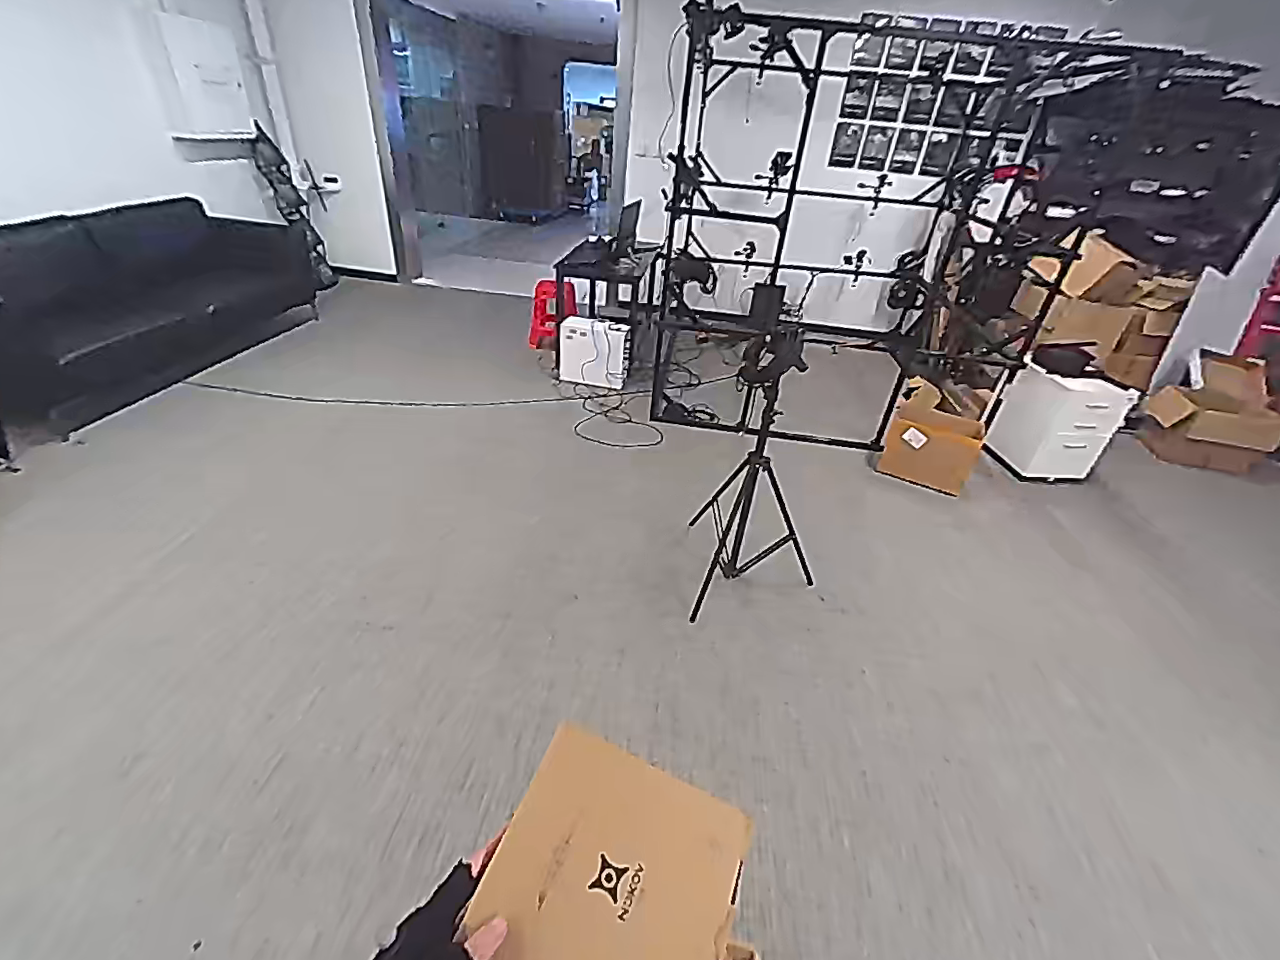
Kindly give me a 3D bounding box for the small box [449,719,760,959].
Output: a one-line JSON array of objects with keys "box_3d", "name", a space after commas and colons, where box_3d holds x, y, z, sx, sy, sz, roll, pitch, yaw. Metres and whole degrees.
[{"box_3d": [-0.026, 0.333, 0.446, 0.179, 0.176, 0.168, 22, 49, 9], "name": "small box"}]
